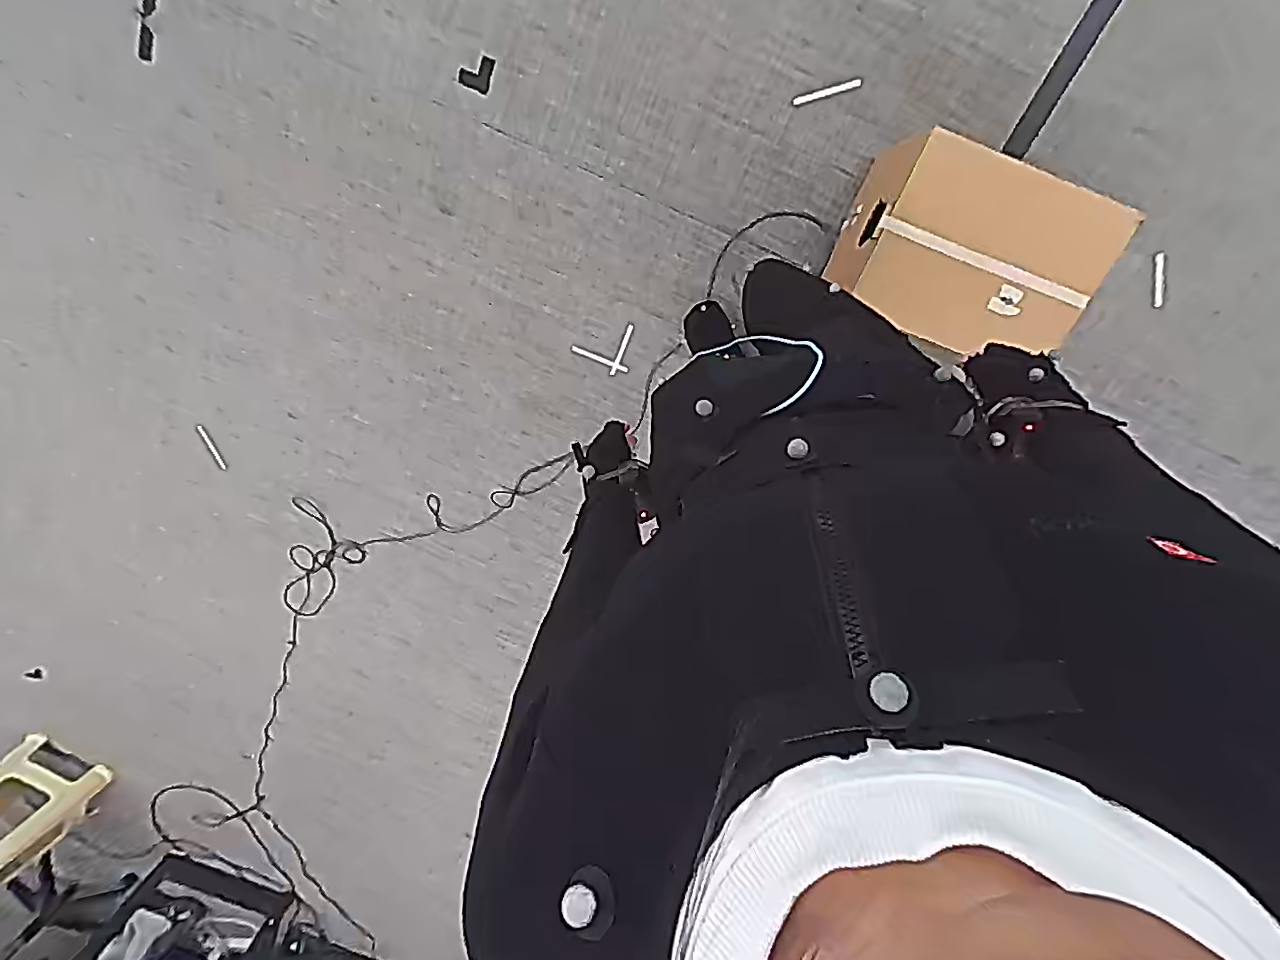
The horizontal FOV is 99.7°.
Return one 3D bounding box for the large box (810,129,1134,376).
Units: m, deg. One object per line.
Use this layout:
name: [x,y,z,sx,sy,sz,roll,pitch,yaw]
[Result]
large box: [0.625,-0.451,1.110,0.408,0.320,0.320,20,114,-4]
